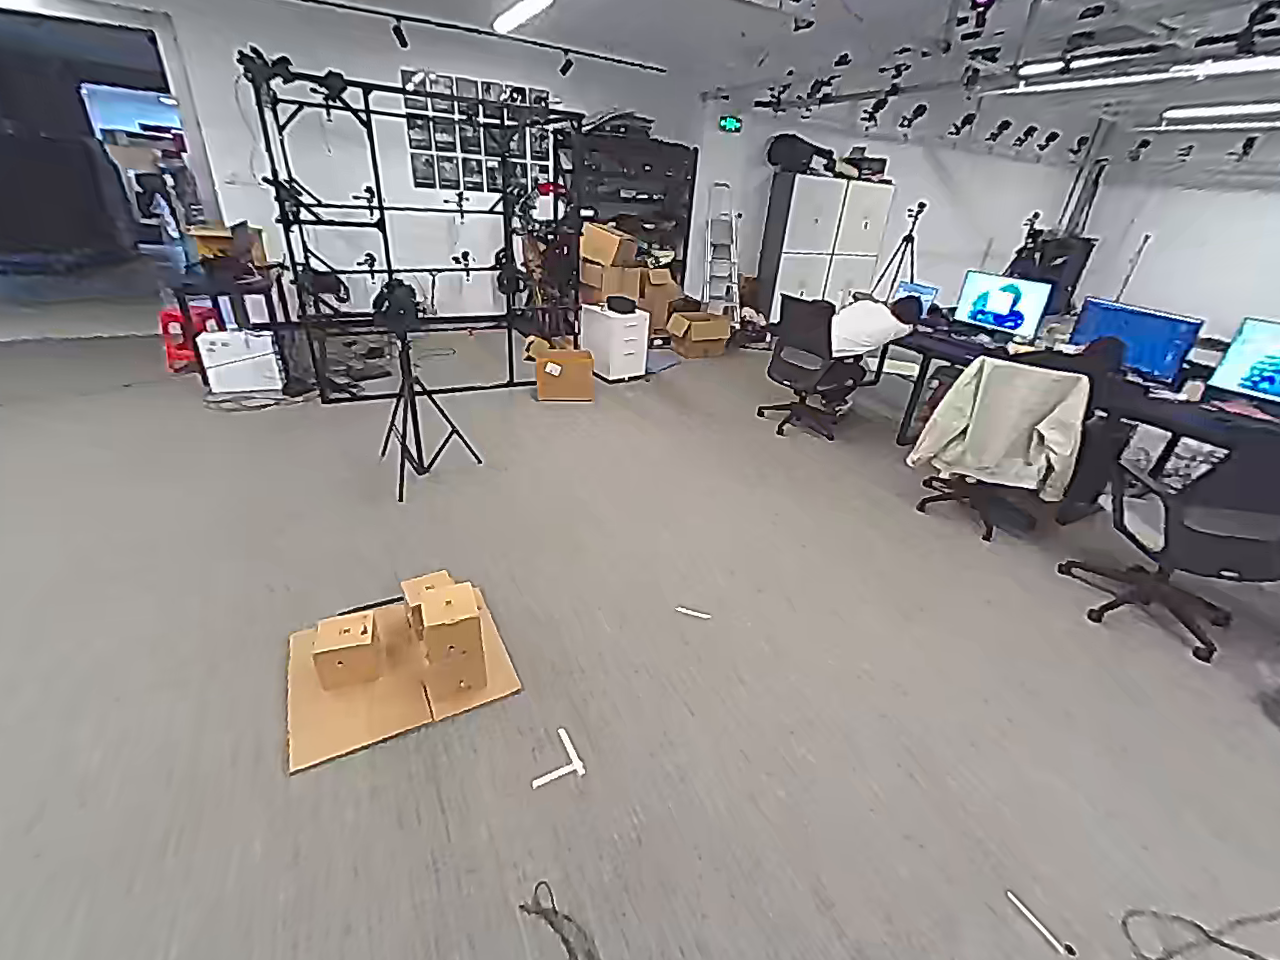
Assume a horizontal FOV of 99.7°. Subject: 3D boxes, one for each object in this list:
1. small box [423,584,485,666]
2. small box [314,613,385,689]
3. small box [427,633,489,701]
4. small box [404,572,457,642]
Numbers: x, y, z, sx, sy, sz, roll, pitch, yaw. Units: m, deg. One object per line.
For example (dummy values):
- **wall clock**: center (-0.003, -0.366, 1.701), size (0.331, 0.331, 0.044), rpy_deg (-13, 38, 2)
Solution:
- **small box**: center (-0.613, 0.476, 1.780), size (0.168, 0.176, 0.179), rpy_deg (-9, 32, -23)
- **small box**: center (-0.991, 0.590, 1.857), size (0.179, 0.176, 0.168), rpy_deg (-8, 31, -18)
- **small box**: center (-0.625, 0.619, 1.858), size (0.168, 0.176, 0.179), rpy_deg (-12, 33, -26)
- **small box**: center (-0.792, 0.488, 2.082), size (0.179, 0.176, 0.168), rpy_deg (-14, 32, -31)
